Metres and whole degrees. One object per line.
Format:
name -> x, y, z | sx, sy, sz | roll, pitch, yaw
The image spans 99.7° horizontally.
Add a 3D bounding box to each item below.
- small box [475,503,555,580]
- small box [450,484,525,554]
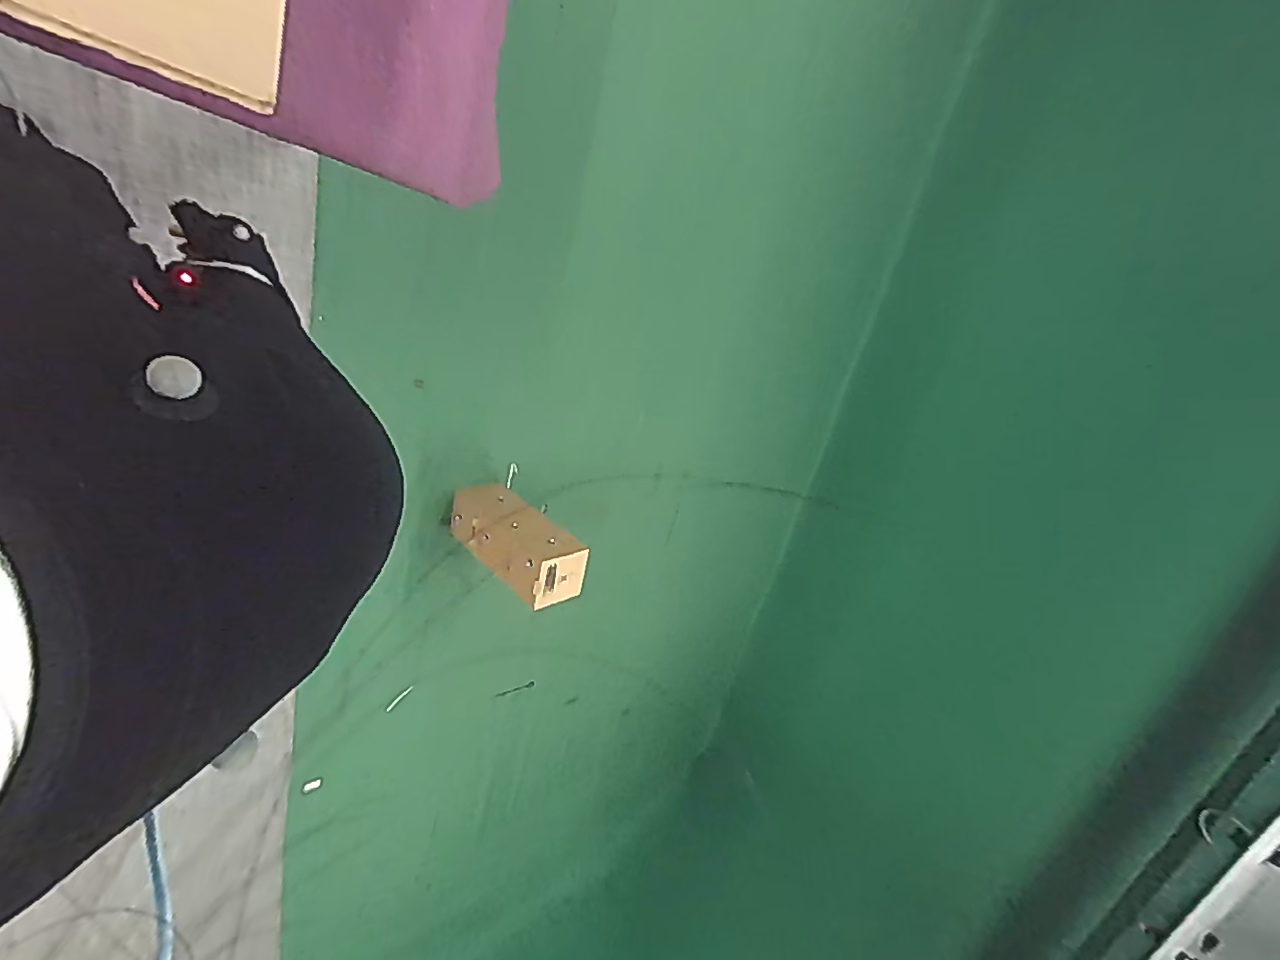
small box -> -0.399, 0.187, 1.720 | 0.179, 0.176, 0.168 | -10, 121, -44
small box -> -0.512, 0.124, 1.818 | 0.179, 0.176, 0.168 | -8, 119, -46
